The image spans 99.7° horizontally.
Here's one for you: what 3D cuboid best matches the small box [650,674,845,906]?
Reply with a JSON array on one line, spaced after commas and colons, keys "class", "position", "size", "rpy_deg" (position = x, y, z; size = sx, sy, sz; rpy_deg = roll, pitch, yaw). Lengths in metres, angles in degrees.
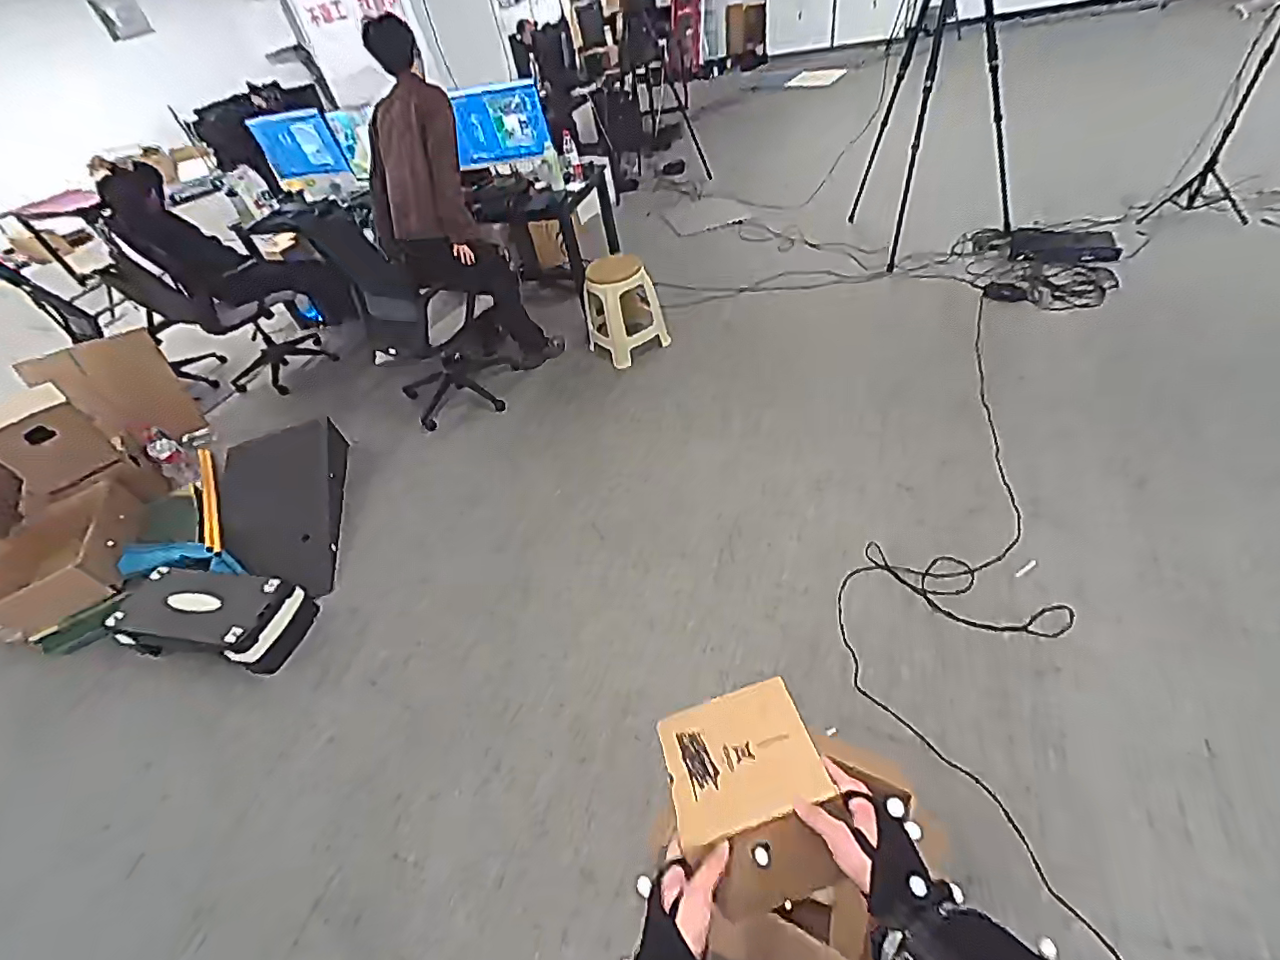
[{"class": "small box", "position": [0.127, 0.379, 0.663], "size": [0.179, 0.176, 0.168], "rpy_deg": [-20, 28, 5]}]
